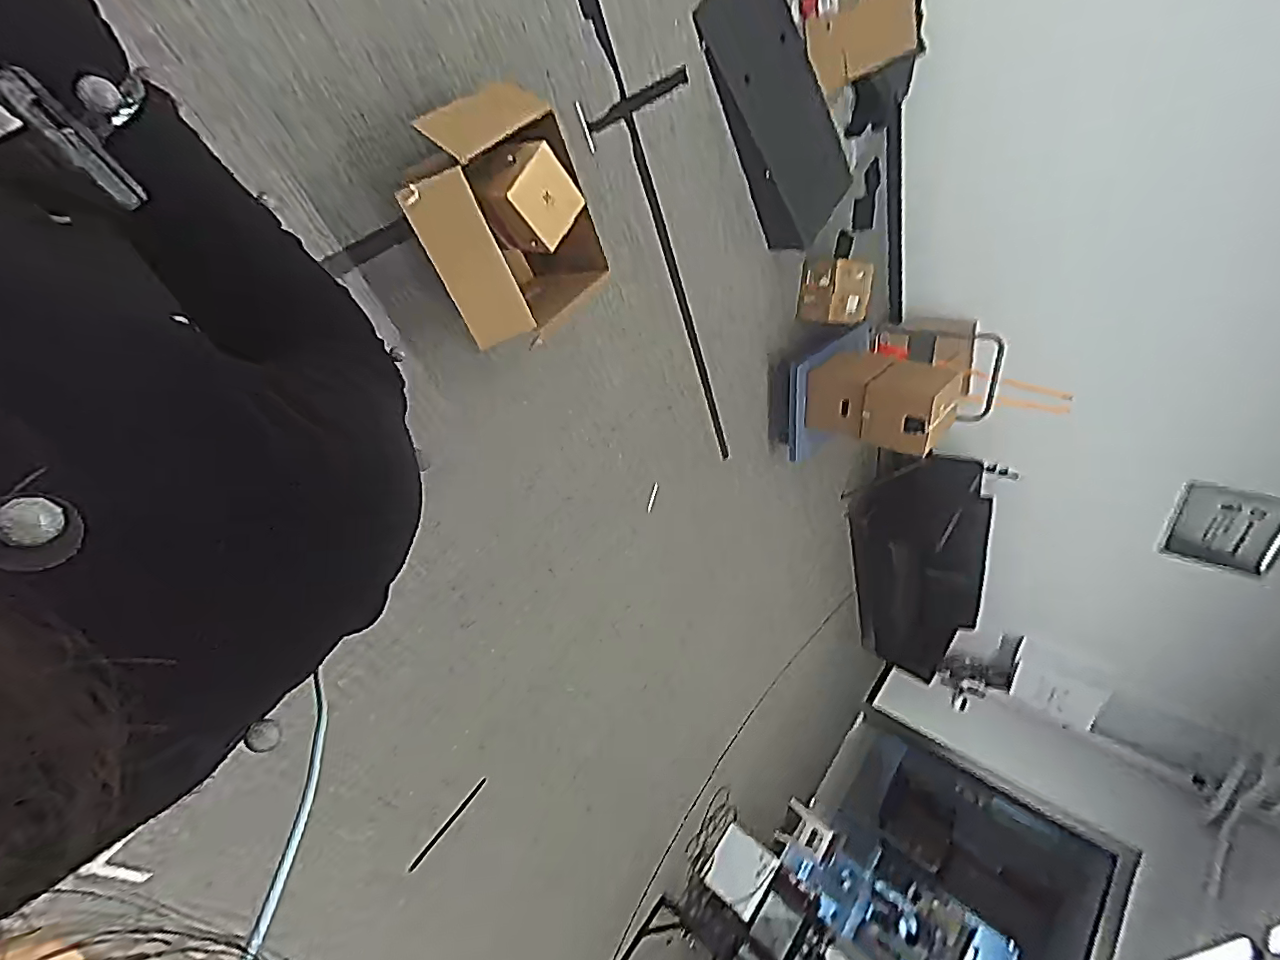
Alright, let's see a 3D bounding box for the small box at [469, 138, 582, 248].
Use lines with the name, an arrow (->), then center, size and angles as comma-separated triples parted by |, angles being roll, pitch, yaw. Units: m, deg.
small box -> -0.284, -0.701, 1.334 | 0.168, 0.176, 0.179 | -60, 143, -7
